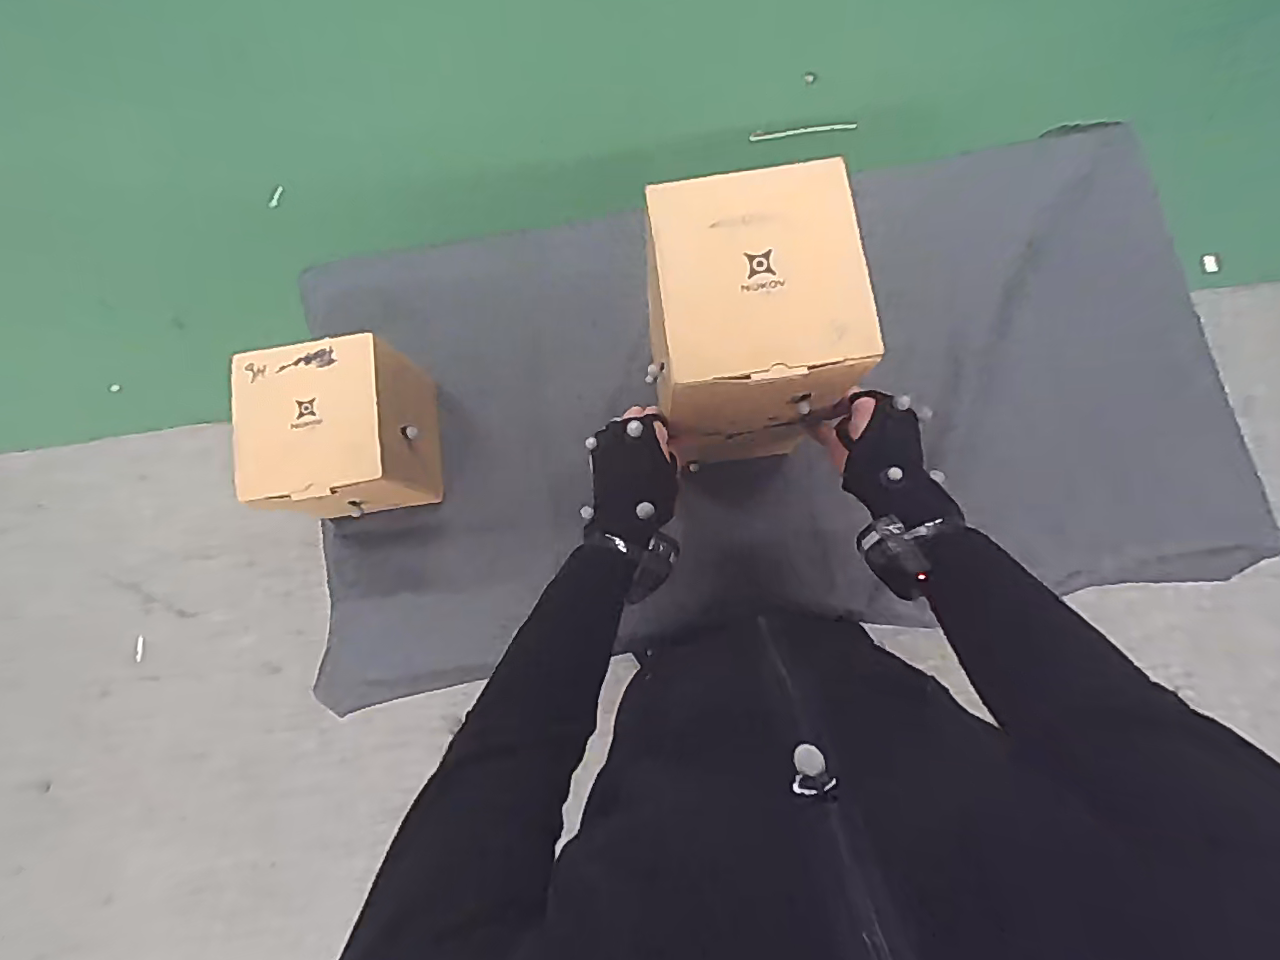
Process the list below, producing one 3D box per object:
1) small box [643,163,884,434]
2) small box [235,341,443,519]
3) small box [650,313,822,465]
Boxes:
[{"bbox_3d":[0.097,-0.148,0.503,0.168,0.176,0.179,-8,79,0],"label":"small box"},{"bbox_3d":[-0.361,-0.049,0.675,0.168,0.176,0.179,-9,81,0],"label":"small box"},{"bbox_3d":[0.107,-0.120,0.662,0.168,0.176,0.179,-8,80,2],"label":"small box"}]
